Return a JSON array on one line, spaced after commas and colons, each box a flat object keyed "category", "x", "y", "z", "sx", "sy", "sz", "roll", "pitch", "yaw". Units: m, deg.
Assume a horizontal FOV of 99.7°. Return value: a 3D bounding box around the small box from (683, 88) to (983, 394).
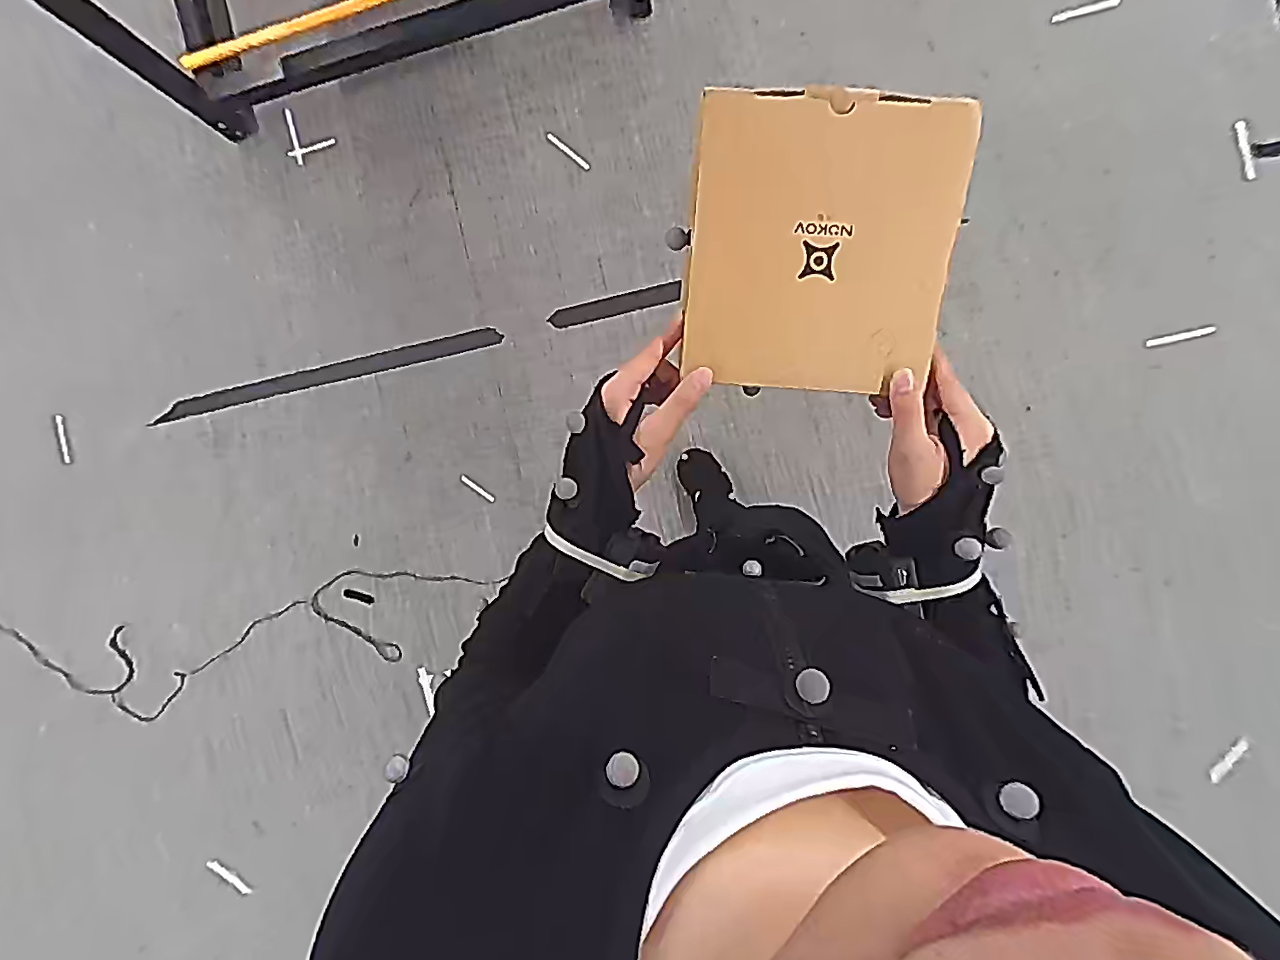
[{"category": "small box", "x": 0.122, "y": -0.169, "z": 0.421, "sx": 0.168, "sy": 0.176, "sz": 0.179, "roll": 4, "pitch": 106, "yaw": 3}]
